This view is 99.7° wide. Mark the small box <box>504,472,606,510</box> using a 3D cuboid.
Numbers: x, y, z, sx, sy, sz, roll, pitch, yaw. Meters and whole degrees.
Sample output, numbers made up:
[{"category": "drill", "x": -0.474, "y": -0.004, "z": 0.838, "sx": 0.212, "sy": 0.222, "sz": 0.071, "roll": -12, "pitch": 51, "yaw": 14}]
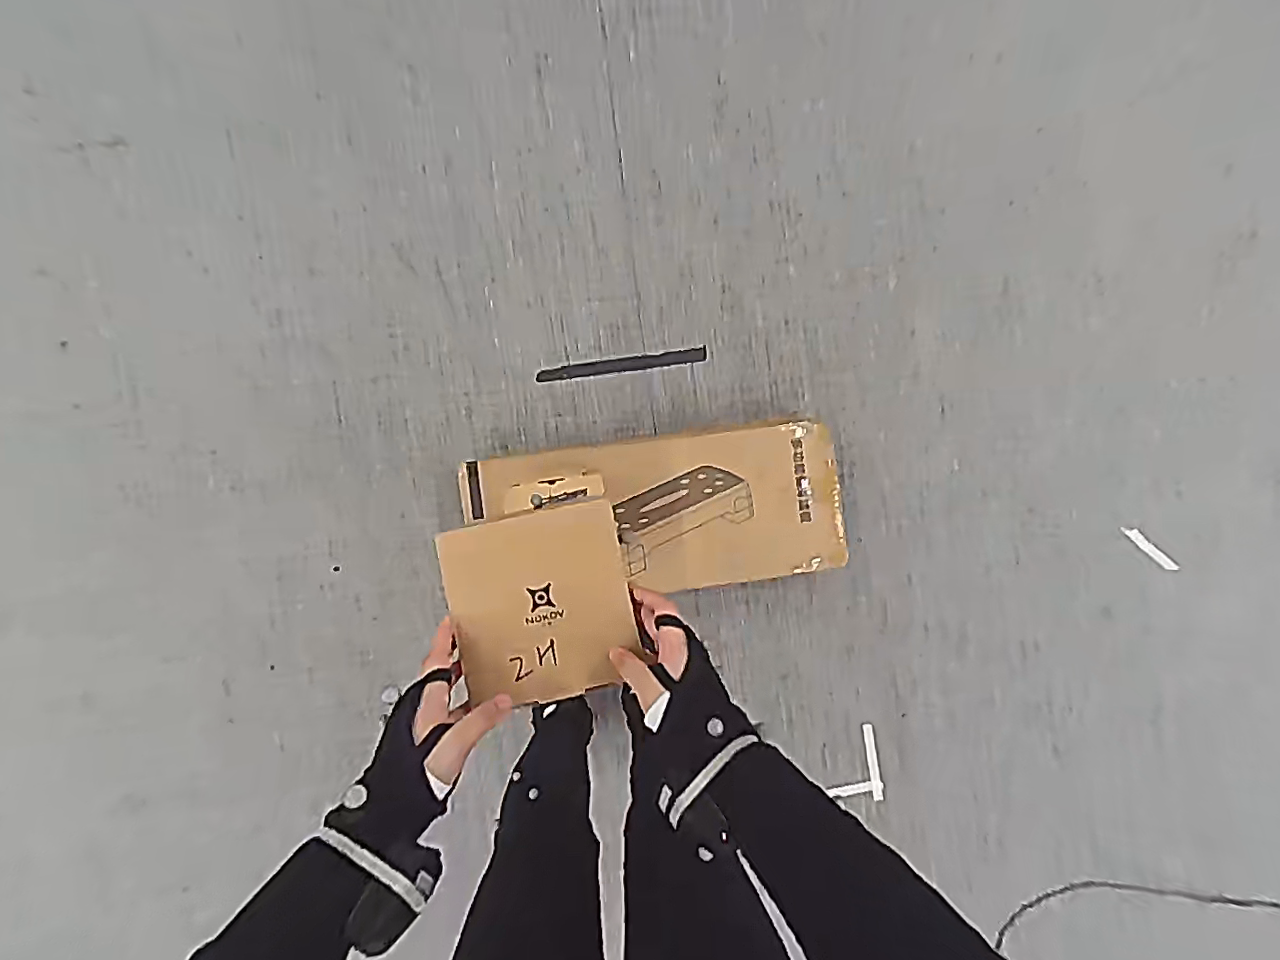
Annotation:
[{"category": "small box", "x": -0.135, "y": 0.083, "z": 0.960, "sx": 0.168, "sy": 0.176, "sz": 0.179, "roll": -9, "pitch": 92, "yaw": -3}]

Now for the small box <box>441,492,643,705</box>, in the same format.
[{"category": "small box", "x": -0.099, "y": 0.113, "z": 0.593, "sx": 0.168, "sy": 0.176, "sz": 0.179, "roll": -12, "pitch": 91, "yaw": -4}]
